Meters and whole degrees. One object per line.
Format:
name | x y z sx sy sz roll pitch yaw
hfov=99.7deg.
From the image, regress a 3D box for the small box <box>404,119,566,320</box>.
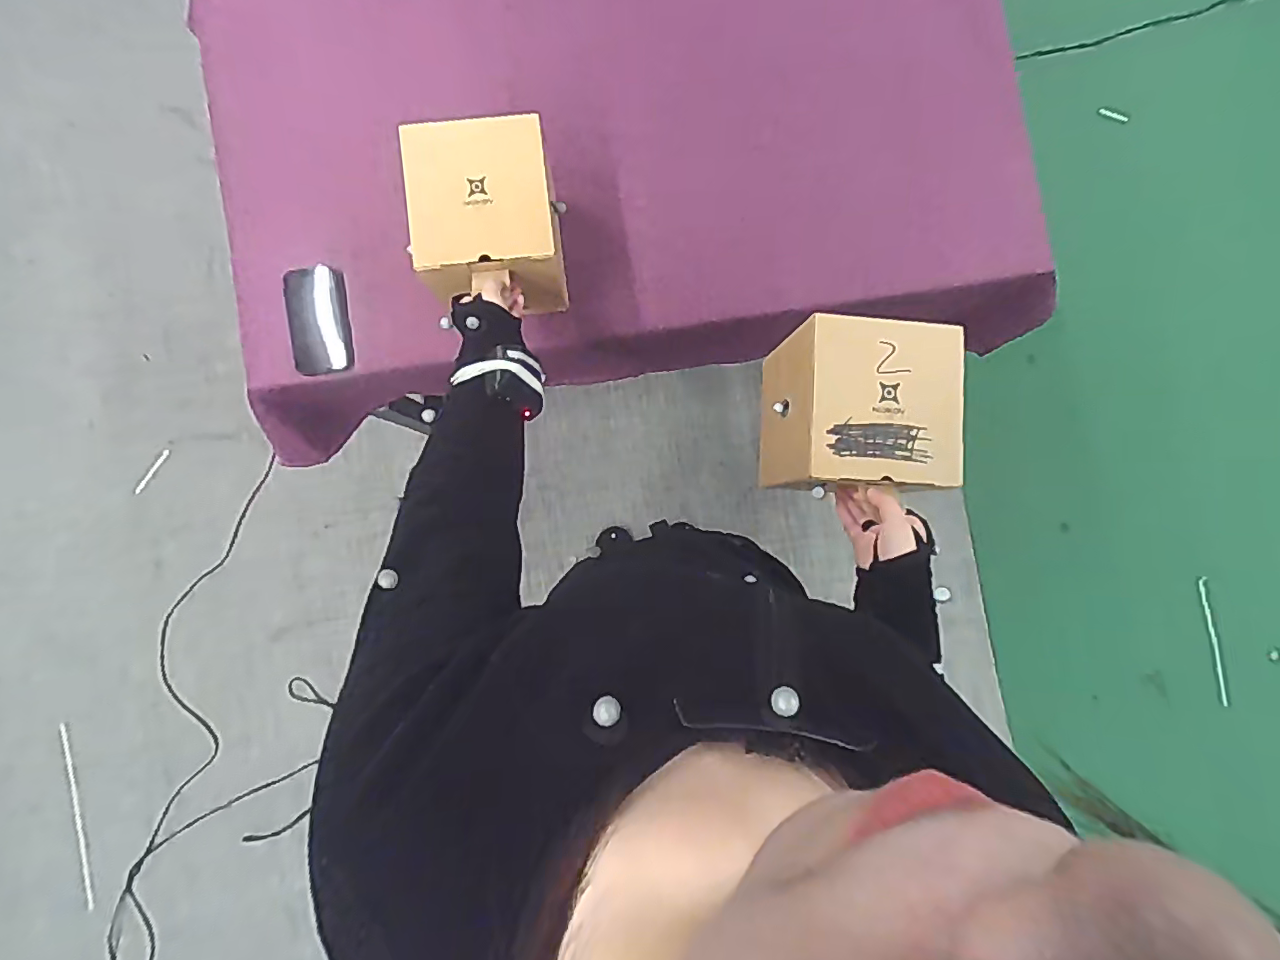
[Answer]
small box | -0.191 -0.329 0.709 0.168 0.176 0.179 -6 88 -4
